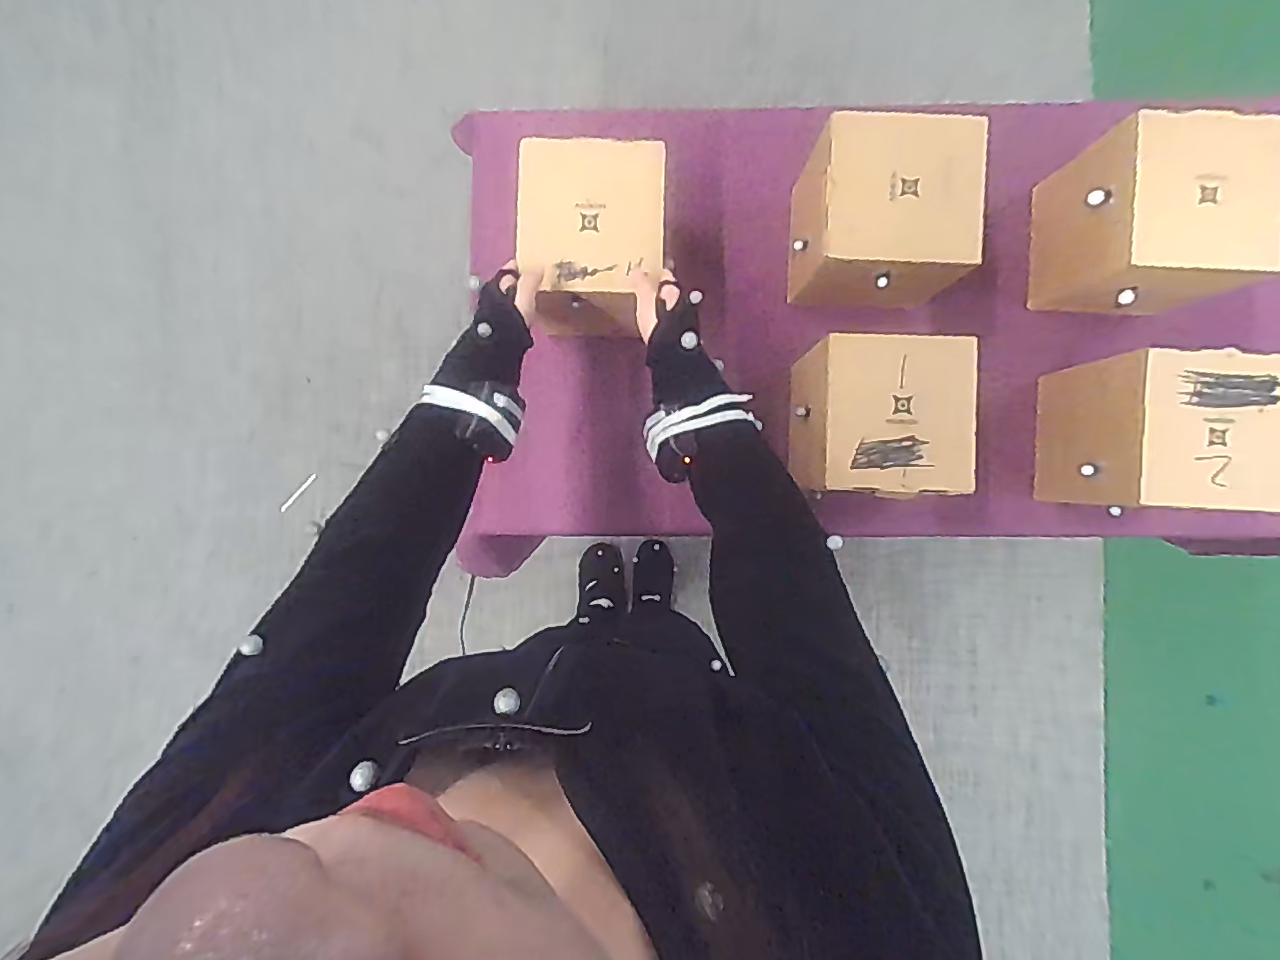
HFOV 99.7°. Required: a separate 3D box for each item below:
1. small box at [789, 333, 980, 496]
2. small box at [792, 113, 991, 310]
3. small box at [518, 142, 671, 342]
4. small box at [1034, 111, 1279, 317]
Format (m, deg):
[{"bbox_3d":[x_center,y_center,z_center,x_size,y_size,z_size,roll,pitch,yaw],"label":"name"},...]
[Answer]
[{"bbox_3d":[0.290,-0.071,0.674,0.168,0.176,0.179,2,88,2],"label":"small box"},{"bbox_3d":[0.298,-0.321,0.678,0.179,0.176,0.168,3,91,1],"label":"small box"},{"bbox_3d":[-0.050,-0.288,0.684,0.168,0.176,0.179,2,88,2],"label":"small box"},{"bbox_3d":[0.625,-0.312,0.667,0.168,0.176,0.179,4,89,2],"label":"small box"}]
